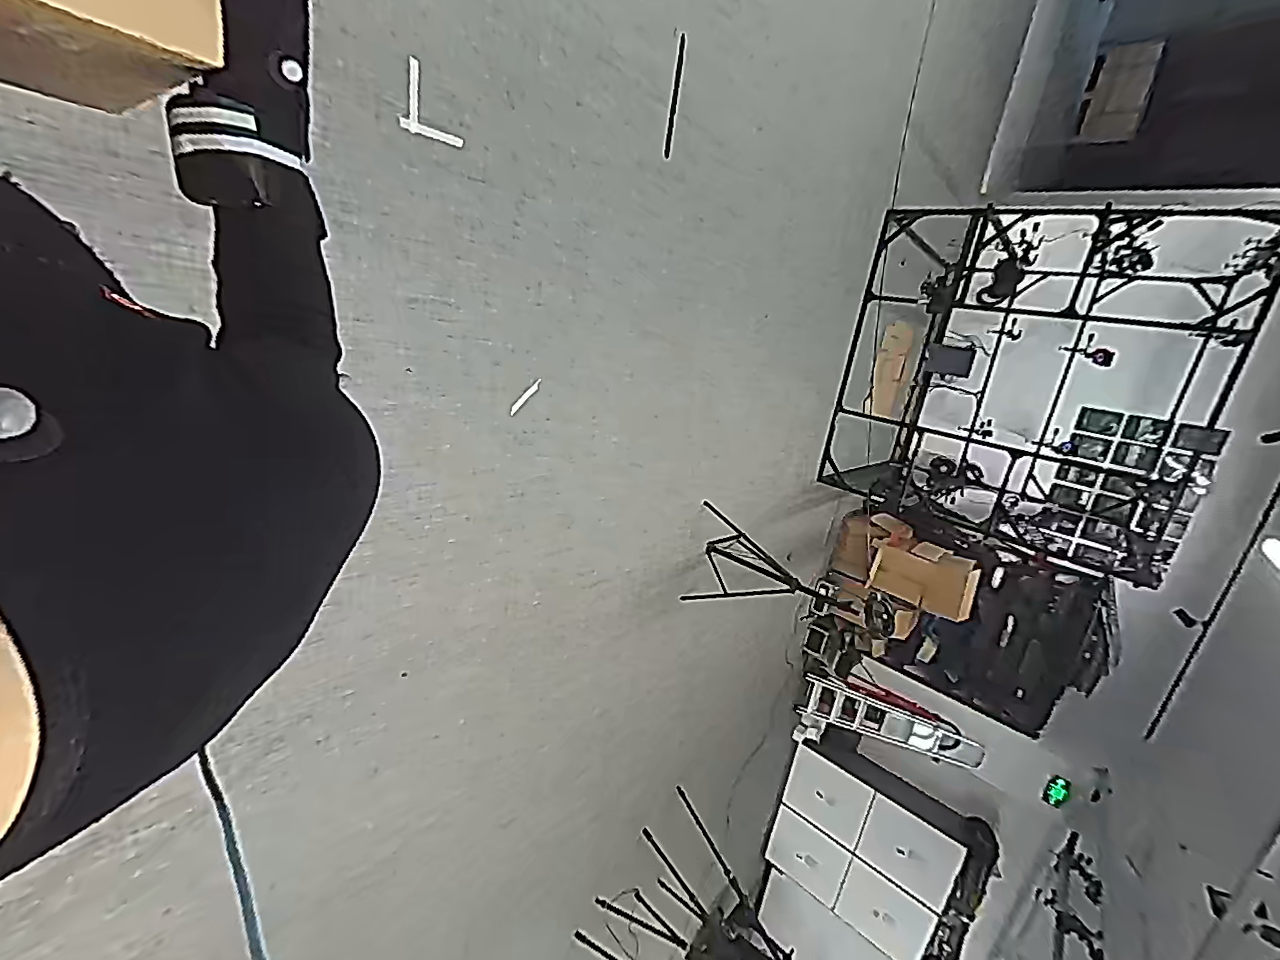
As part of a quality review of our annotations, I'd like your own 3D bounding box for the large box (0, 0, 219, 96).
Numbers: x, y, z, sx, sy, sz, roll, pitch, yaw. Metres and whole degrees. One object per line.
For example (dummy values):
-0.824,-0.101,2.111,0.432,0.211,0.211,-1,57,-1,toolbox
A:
-0.503,-0.448,0.252,0.408,0.320,0.320,-13,117,-51,large box
